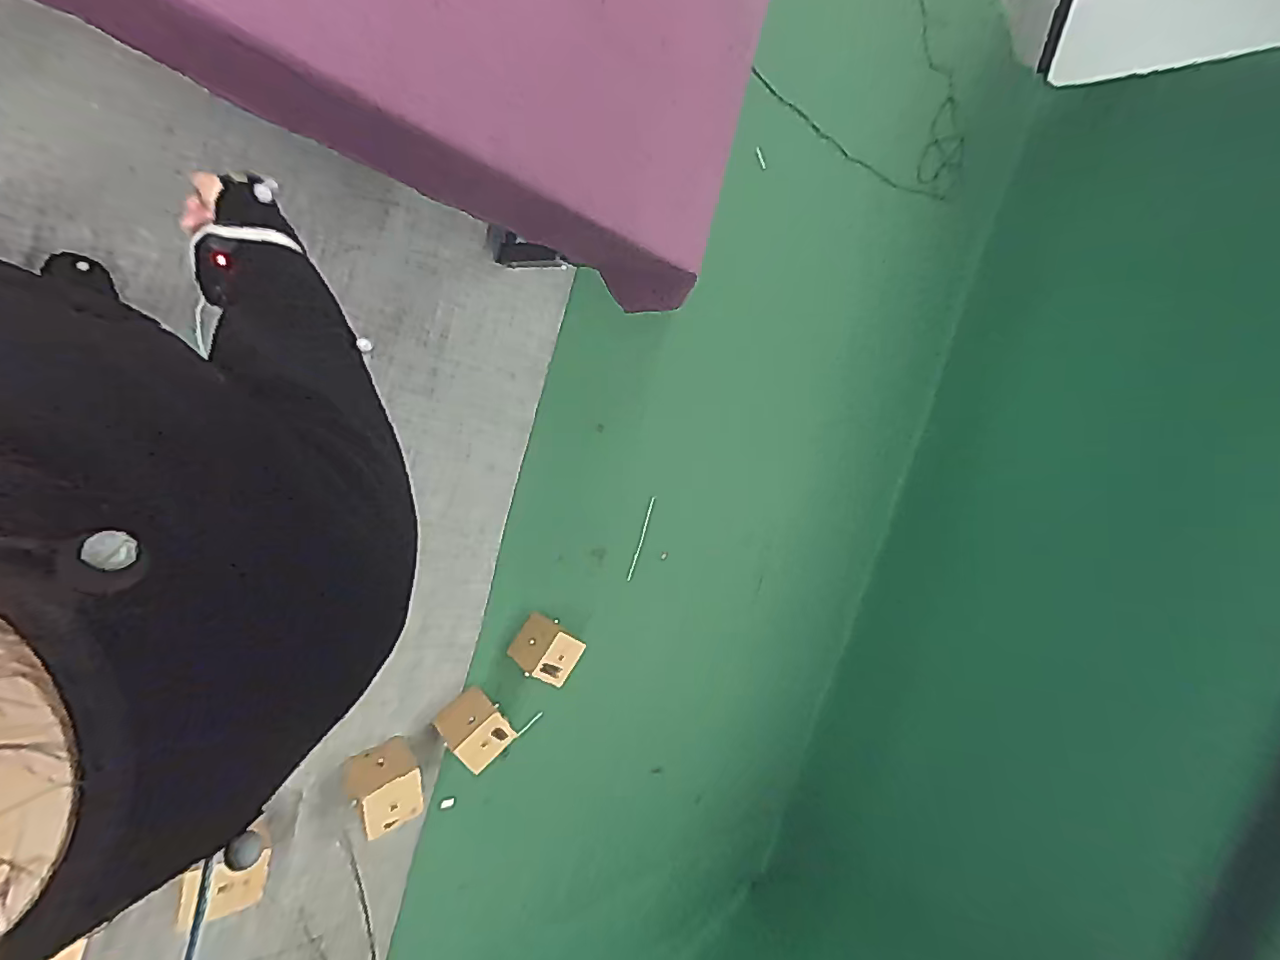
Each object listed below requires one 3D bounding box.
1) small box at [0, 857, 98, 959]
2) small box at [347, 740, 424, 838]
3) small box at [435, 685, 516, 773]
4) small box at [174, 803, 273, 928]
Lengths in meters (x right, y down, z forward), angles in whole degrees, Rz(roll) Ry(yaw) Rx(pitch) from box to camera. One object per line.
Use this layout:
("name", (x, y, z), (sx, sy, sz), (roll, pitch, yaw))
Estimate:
("small box", (-1.314, 0.966, 1.171), (0.179, 0.176, 0.168), (16, 95, -45))
("small box", (-0.784, 0.934, 1.660), (0.168, 0.176, 0.179), (-13, 114, -40))
("small box", (-0.561, 0.837, 1.834), (0.179, 0.176, 0.168), (-39, 130, -25))
("small box", (-1.079, 0.982, 1.397), (0.179, 0.176, 0.168), (8, 101, -44))
